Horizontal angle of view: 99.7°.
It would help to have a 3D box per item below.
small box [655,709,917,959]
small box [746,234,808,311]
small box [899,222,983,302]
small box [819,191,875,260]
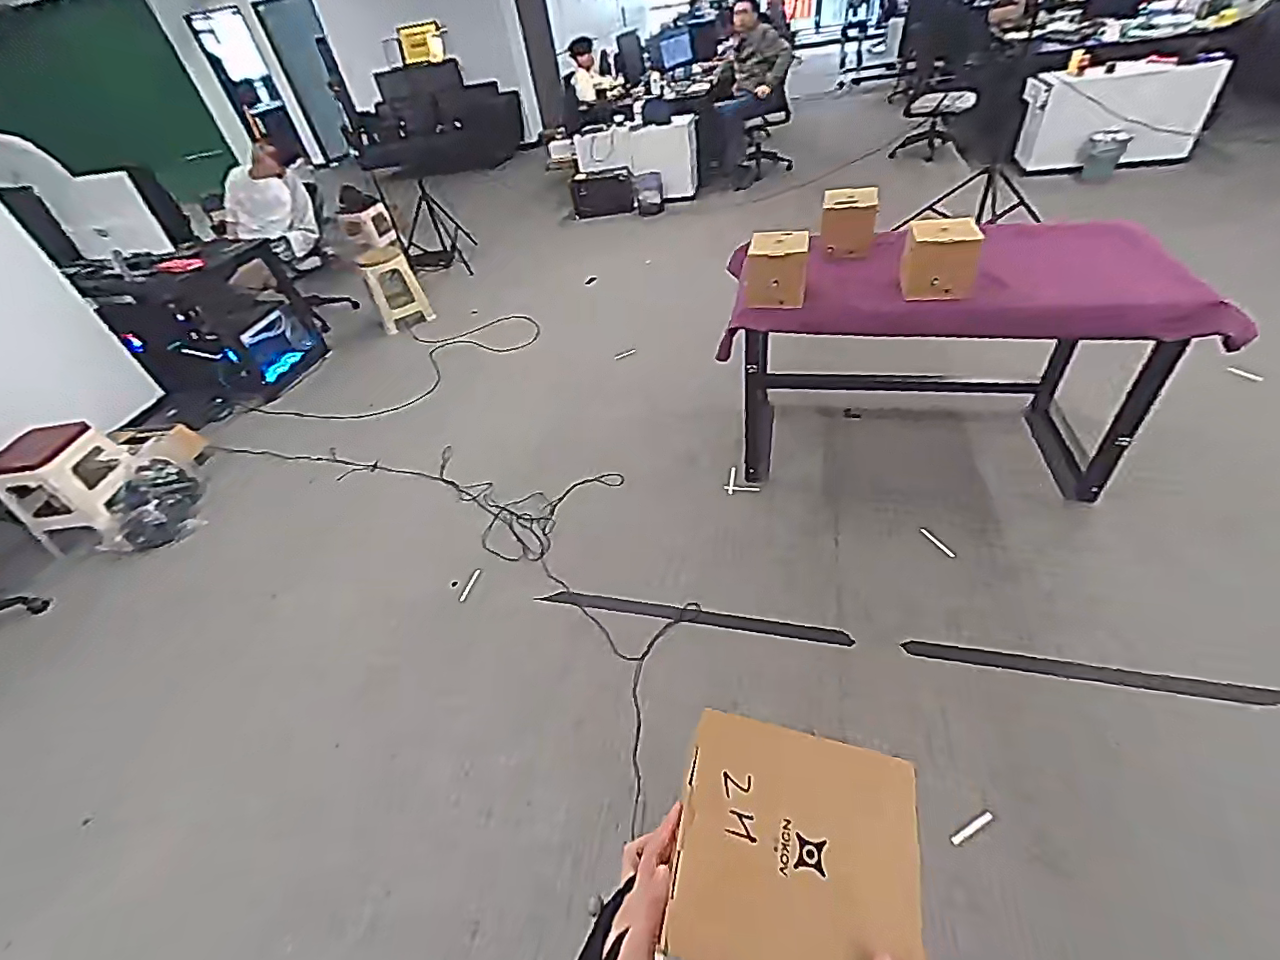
[{"bbox_3d":[0.116,0.324,0.473,0.179,0.176,0.168,11,54,8],"label":"small box"},{"bbox_3d":[0.417,-0.629,1.648,0.168,0.176,0.179,5,44,16],"label":"small box"},{"bbox_3d":[0.857,-0.628,1.561,0.168,0.176,0.179,3,43,15],"label":"small box"},{"bbox_3d":[0.706,-0.867,1.849,0.168,0.176,0.179,6,45,17],"label":"small box"}]
